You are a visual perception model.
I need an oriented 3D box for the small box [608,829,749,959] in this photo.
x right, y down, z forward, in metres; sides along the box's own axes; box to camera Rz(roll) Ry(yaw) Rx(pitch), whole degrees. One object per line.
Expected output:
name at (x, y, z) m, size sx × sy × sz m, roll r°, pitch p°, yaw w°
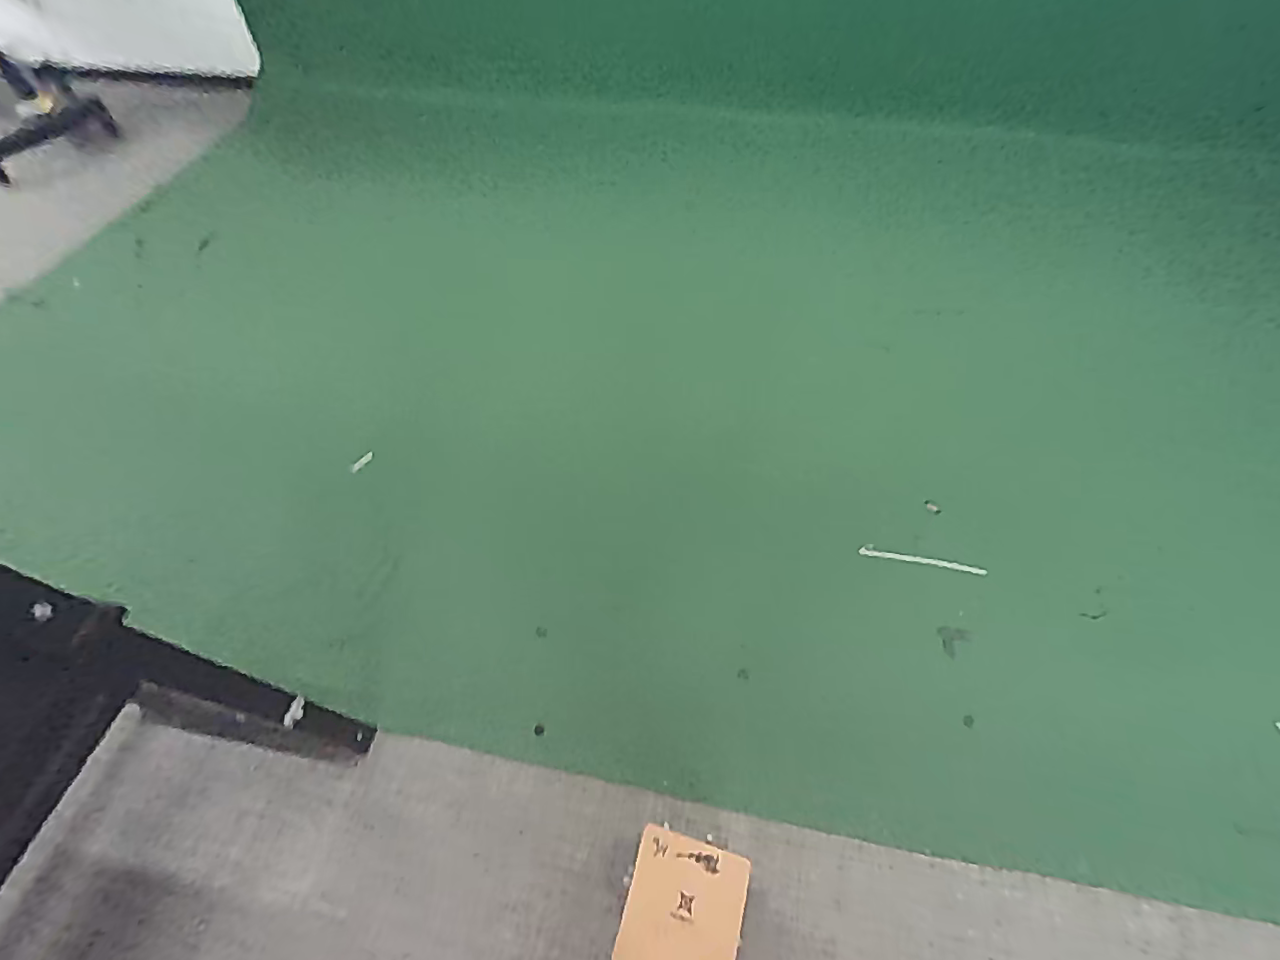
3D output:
small box at (0.061, 0.660, 0.822) m, size 0.168 × 0.176 × 0.179 m, roll 13°, pitch 57°, yaw 12°
